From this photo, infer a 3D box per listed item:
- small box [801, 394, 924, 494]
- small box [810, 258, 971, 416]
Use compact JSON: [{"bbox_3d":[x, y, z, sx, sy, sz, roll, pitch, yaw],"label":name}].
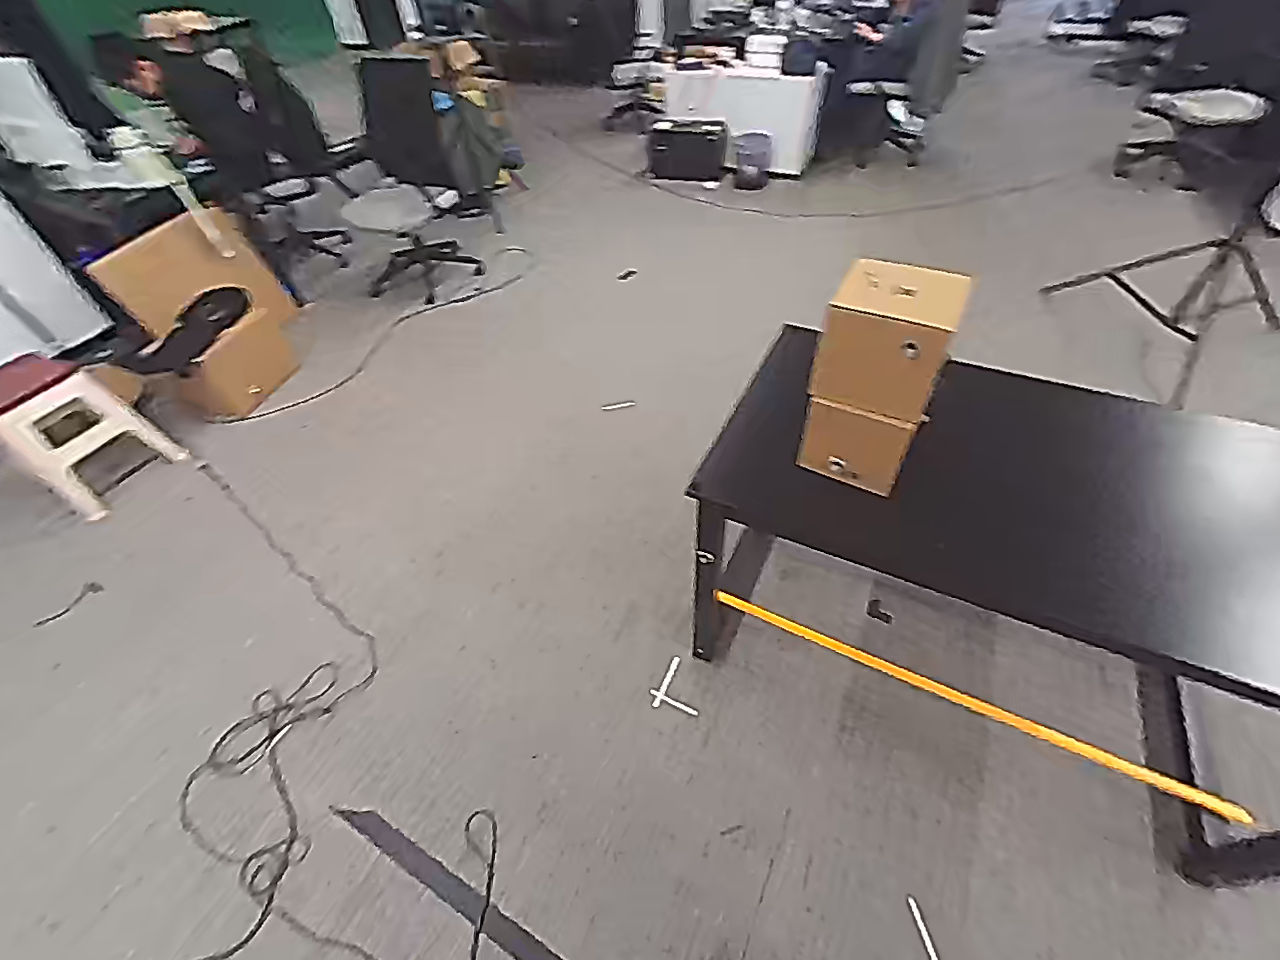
[{"bbox_3d":[0.404,-0.108,0.981,0.168,0.176,0.179,21,54,23],"label":"small box"},{"bbox_3d":[0.392,-0.225,0.864,0.179,0.176,0.168,21,52,23],"label":"small box"}]
